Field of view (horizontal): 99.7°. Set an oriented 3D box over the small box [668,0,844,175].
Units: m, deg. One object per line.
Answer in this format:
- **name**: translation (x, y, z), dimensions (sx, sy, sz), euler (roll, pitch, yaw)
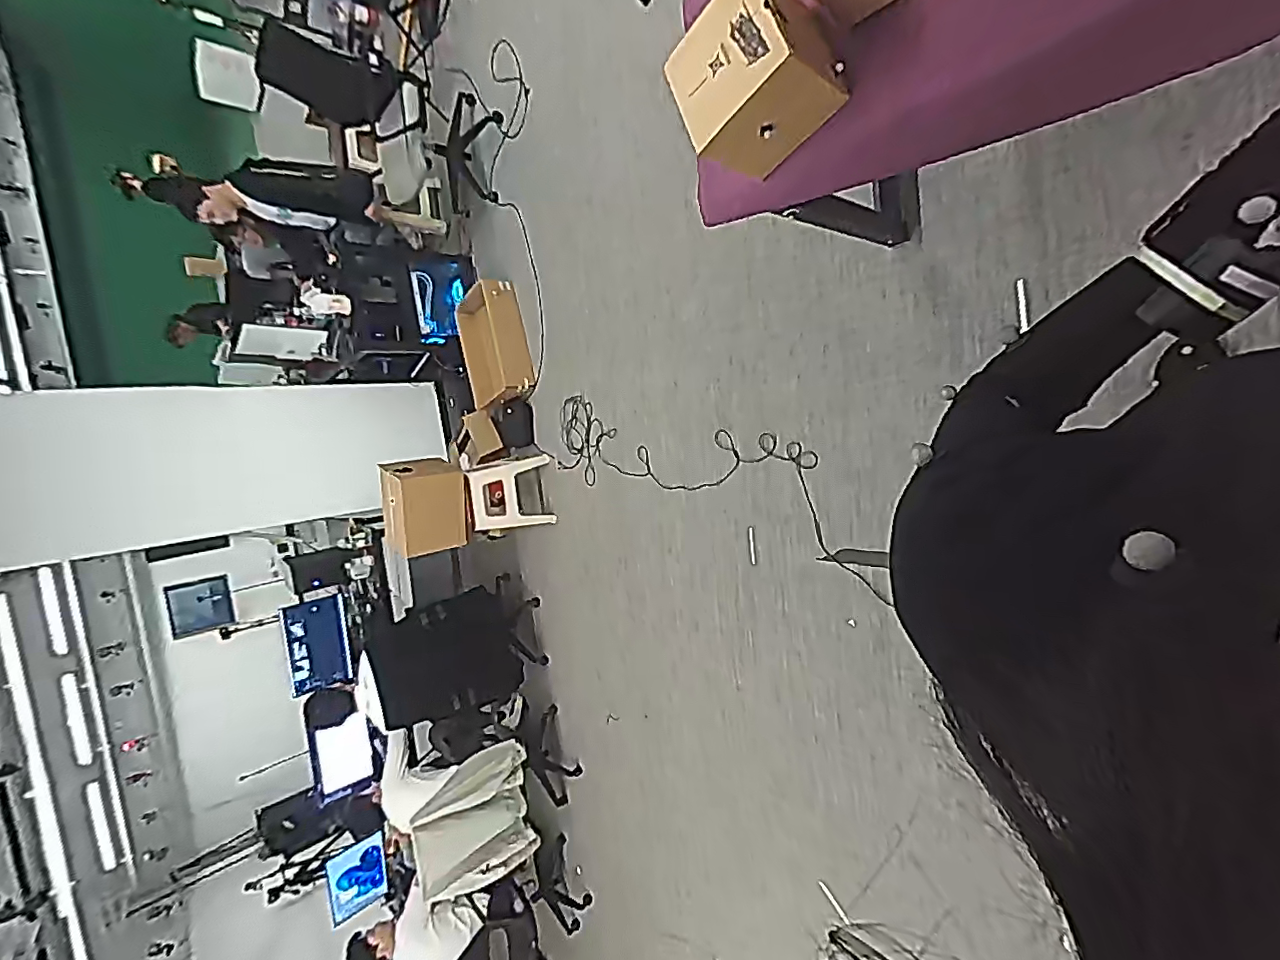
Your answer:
- **small box**: translation (0.177, -0.598, 0.804), dimensions (0.179, 0.176, 0.168), euler (-28, 76, 47)
